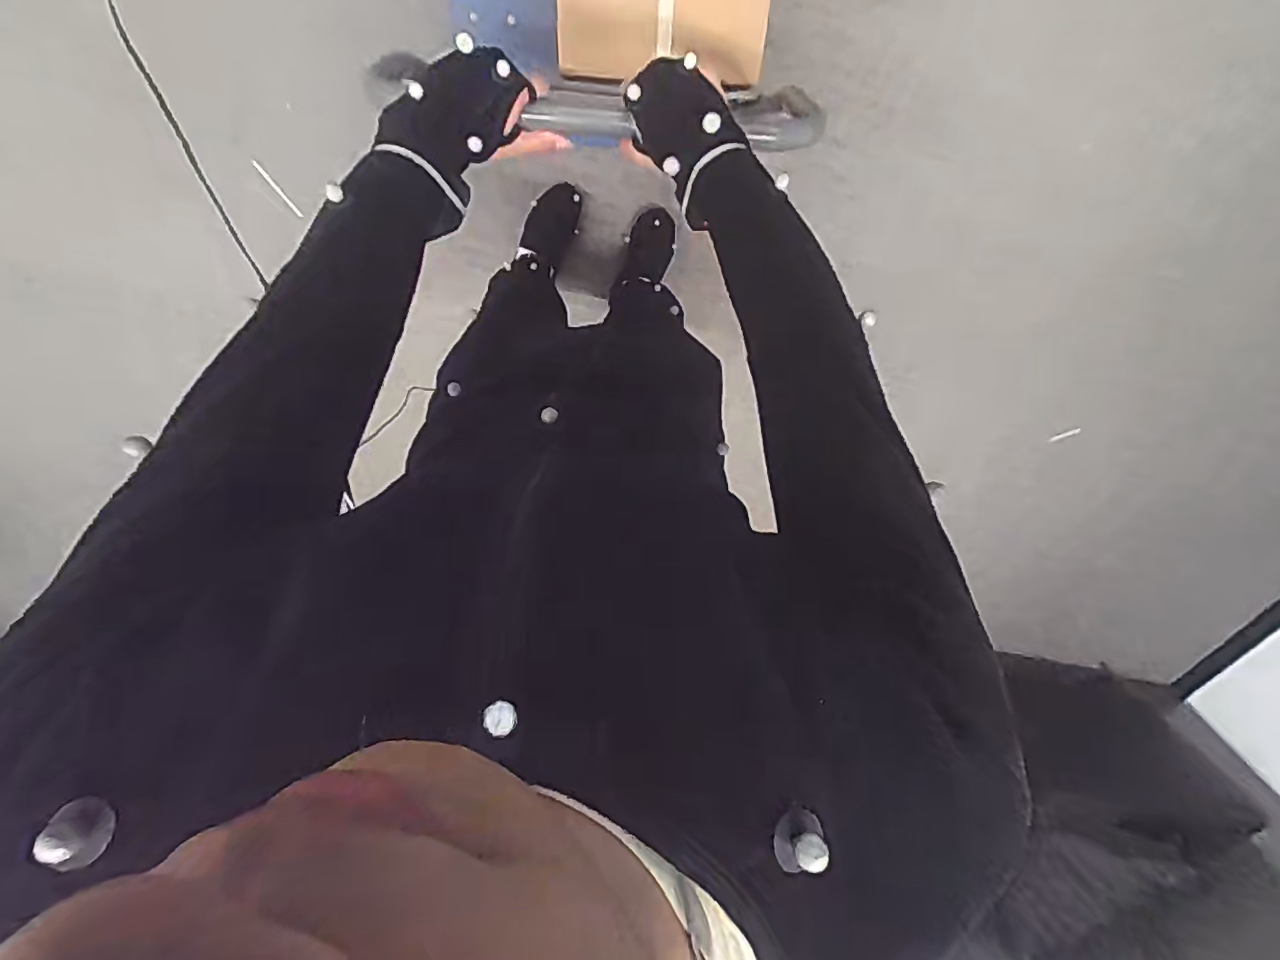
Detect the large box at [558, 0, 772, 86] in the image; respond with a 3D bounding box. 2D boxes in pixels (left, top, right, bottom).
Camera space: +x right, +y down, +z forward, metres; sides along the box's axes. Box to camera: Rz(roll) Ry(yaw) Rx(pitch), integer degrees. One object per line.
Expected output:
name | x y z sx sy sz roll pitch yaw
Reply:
large box | 0.037 -0.872 0.841 0.320 0.320 0.408 1 124 -4
